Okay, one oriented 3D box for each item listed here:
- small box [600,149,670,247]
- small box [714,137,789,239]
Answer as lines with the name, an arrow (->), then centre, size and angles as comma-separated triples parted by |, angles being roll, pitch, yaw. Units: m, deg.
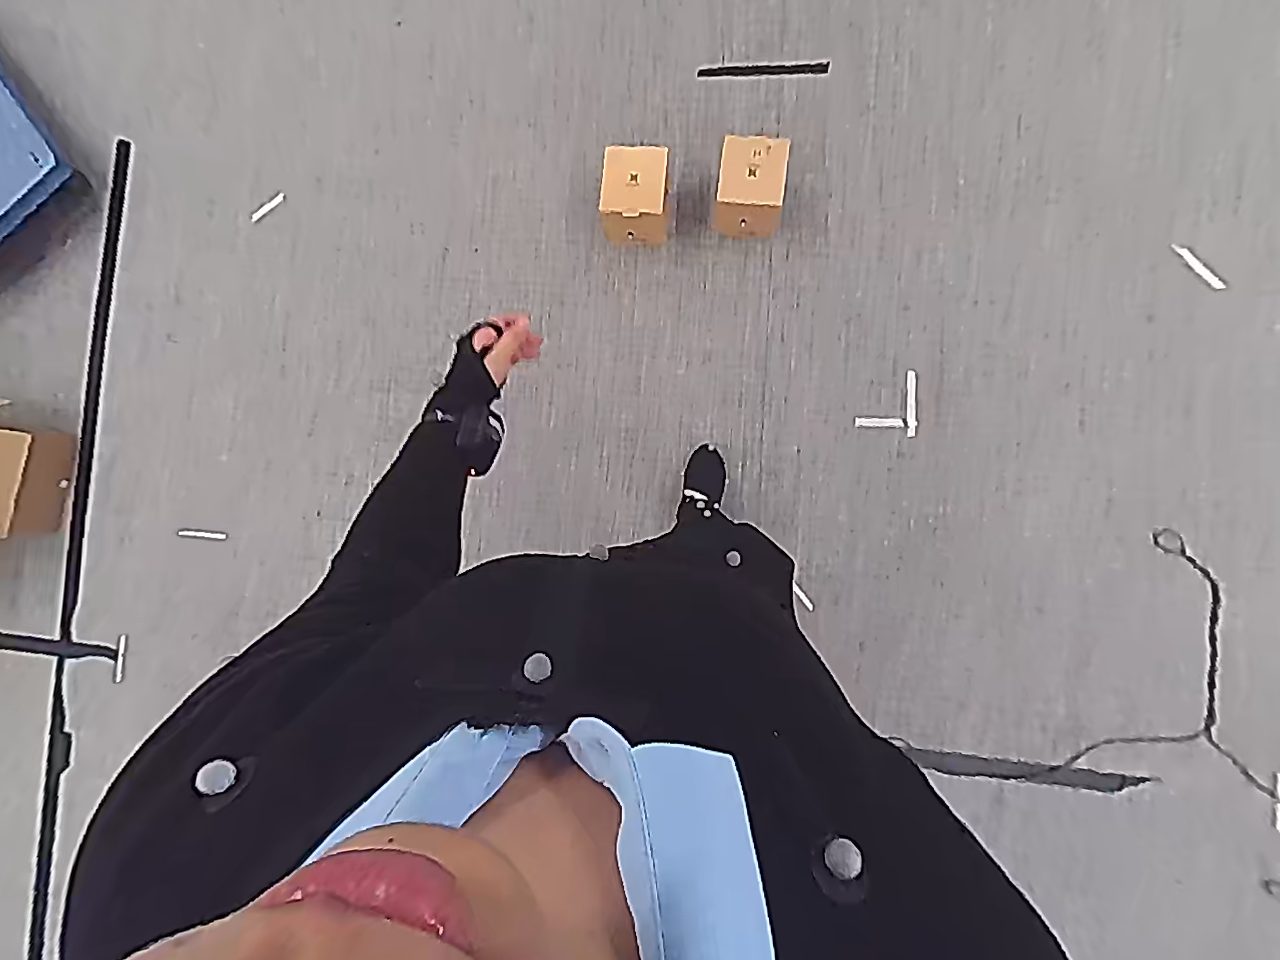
small box -> -0.008, -0.756, 1.459 | 0.168, 0.176, 0.179 | 5, 88, 6
small box -> 0.288, -0.763, 1.427 | 0.168, 0.176, 0.179 | 7, 87, 5
